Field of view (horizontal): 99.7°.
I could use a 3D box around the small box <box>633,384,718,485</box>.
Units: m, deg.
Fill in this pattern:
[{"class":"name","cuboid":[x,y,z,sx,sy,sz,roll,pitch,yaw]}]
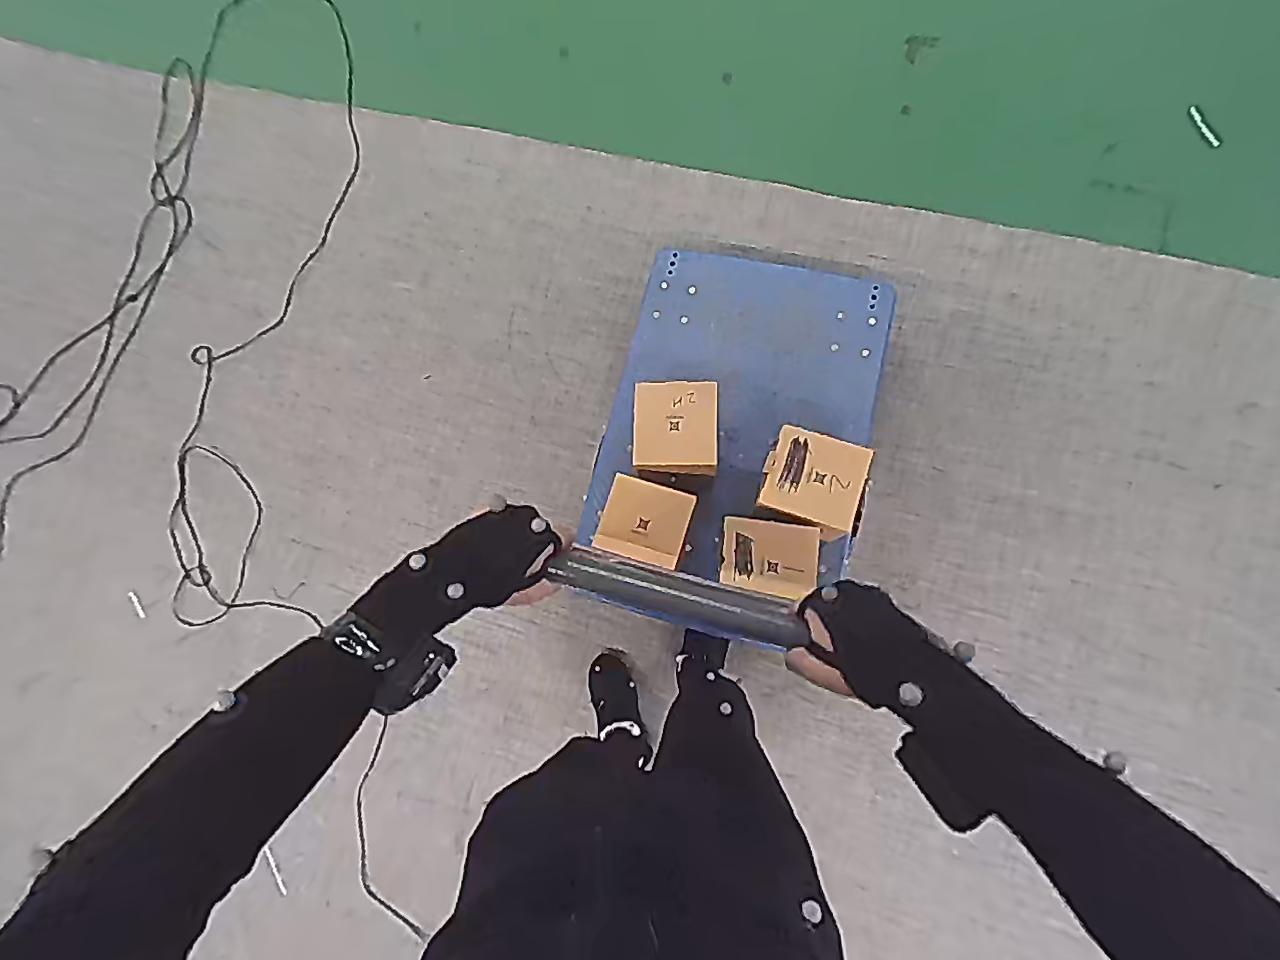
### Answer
[{"class":"small box","cuboid":[0.079,-0.089,1.138,0.168,0.176,0.179,1,77,6]}]
